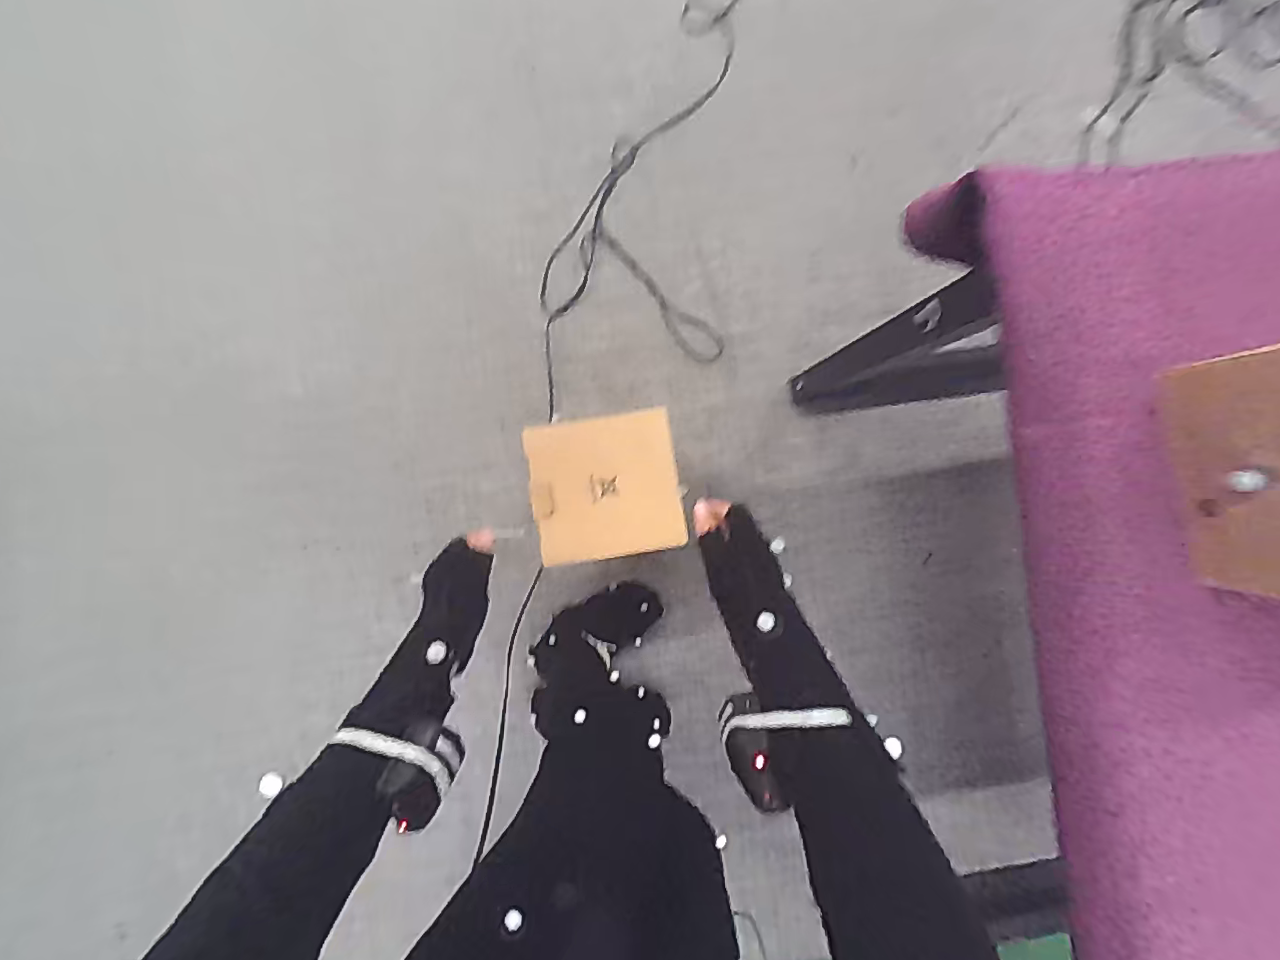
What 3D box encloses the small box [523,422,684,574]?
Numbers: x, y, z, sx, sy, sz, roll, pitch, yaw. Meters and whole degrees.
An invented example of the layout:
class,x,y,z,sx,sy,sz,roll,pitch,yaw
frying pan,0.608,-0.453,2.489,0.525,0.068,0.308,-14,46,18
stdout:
class,x,y,z,sx,sy,sz,roll,pitch,yaw
small box,-0.044,0.020,0.724,0.179,0.176,0.168,-9,90,0
